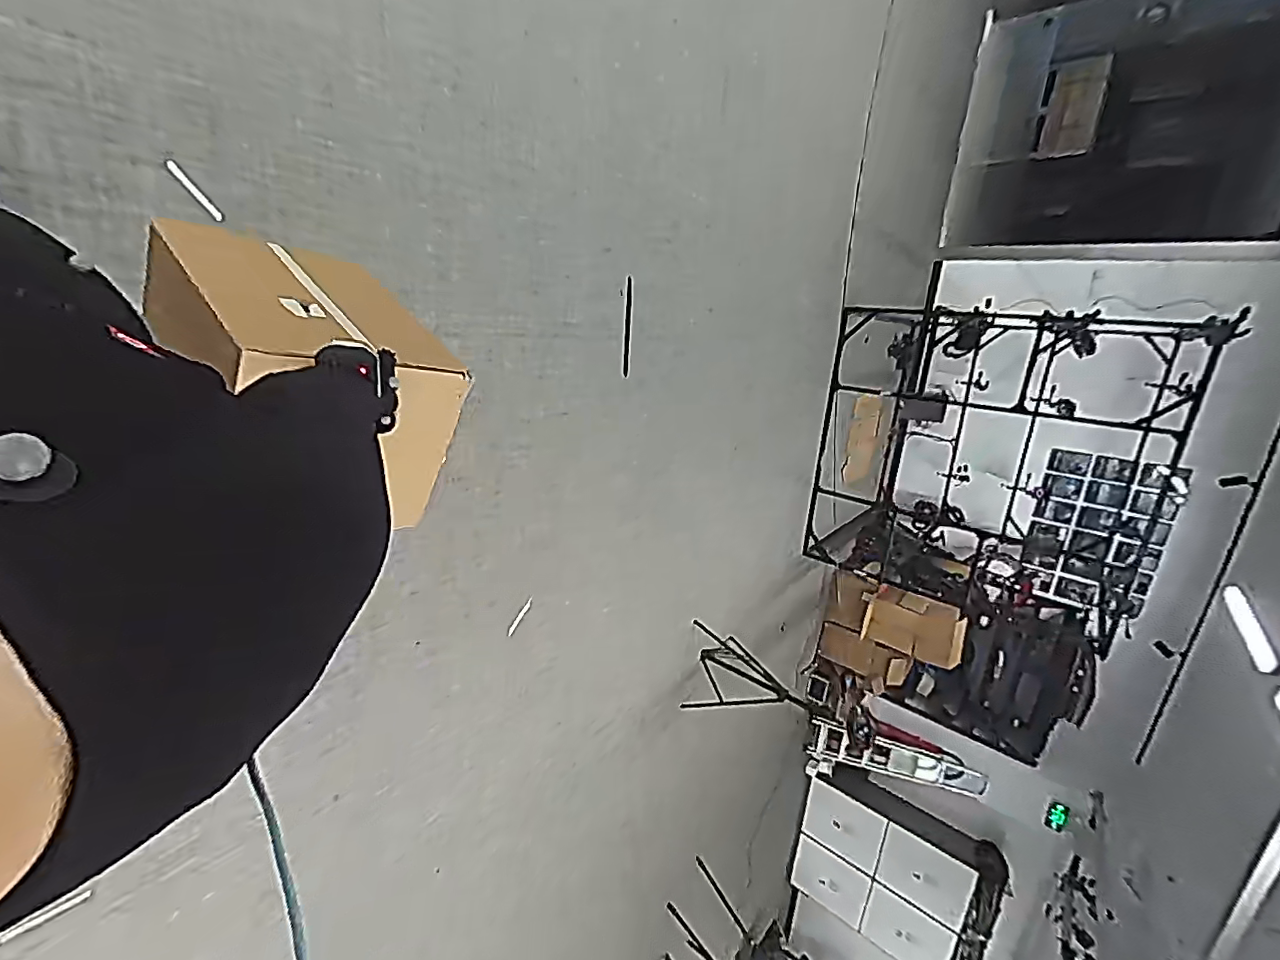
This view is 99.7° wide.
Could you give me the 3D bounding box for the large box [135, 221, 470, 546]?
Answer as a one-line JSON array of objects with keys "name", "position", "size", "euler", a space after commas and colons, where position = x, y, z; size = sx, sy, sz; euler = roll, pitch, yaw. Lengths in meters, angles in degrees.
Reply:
[{"name": "large box", "position": [-0.561, -0.153, 0.888], "size": [0.320, 0.408, 0.320], "euler": [-8, 133, -53]}]
